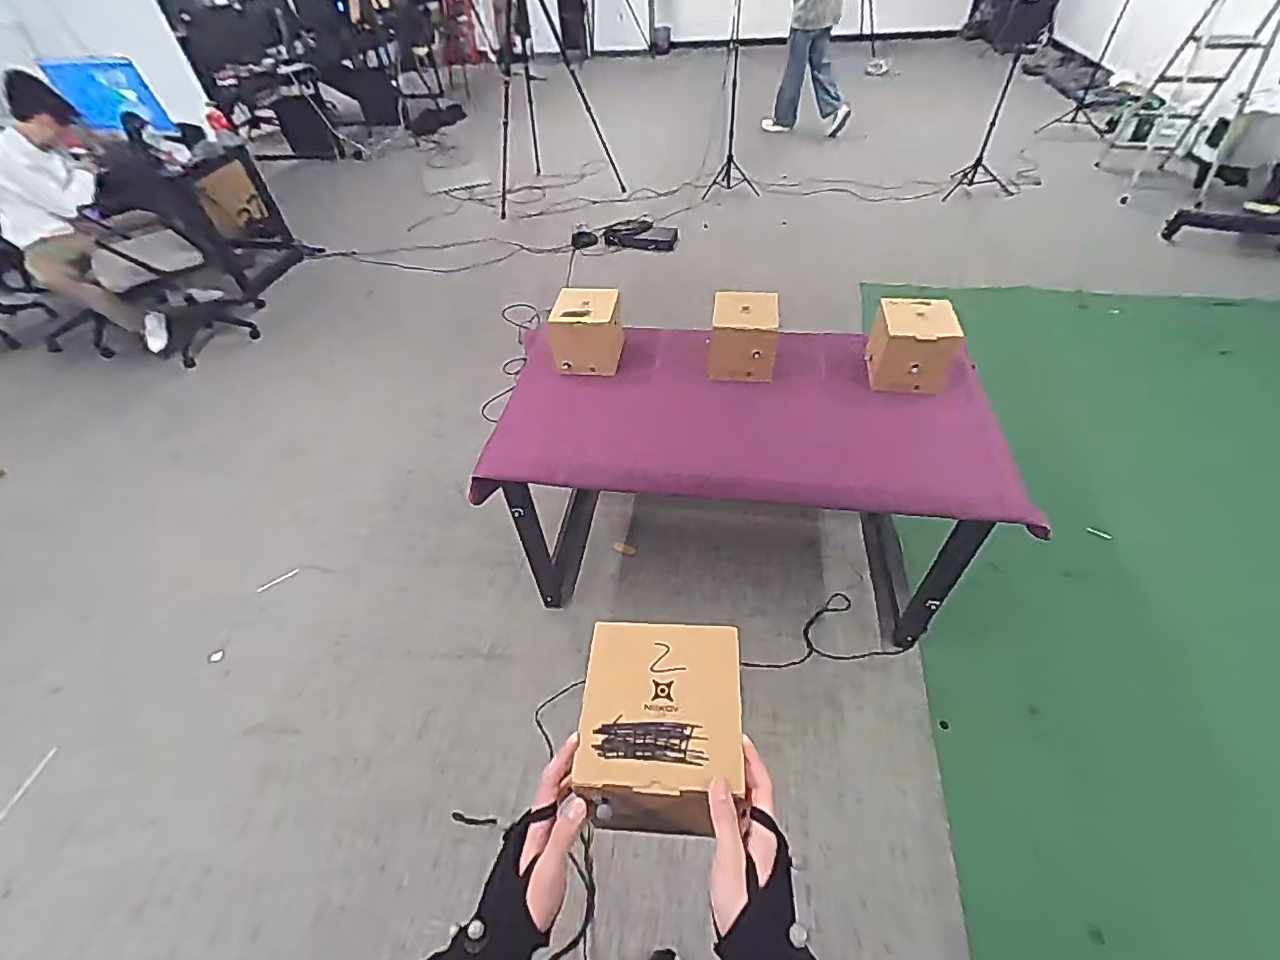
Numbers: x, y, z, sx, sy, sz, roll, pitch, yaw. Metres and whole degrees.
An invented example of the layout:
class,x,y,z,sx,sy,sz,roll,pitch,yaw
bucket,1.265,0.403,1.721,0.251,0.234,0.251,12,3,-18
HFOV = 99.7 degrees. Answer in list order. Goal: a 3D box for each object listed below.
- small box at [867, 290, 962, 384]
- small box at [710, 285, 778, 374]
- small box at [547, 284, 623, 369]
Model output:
class,x,y,z,sx,sy,sz,roll,pitch,yaw
small box,0.683,-0.360,1.365,0.168,0.176,0.179,5,49,10
small box,0.275,-0.398,1.440,0.168,0.176,0.179,4,49,8
small box,-0.144,-0.424,1.498,0.168,0.176,0.179,3,48,7
